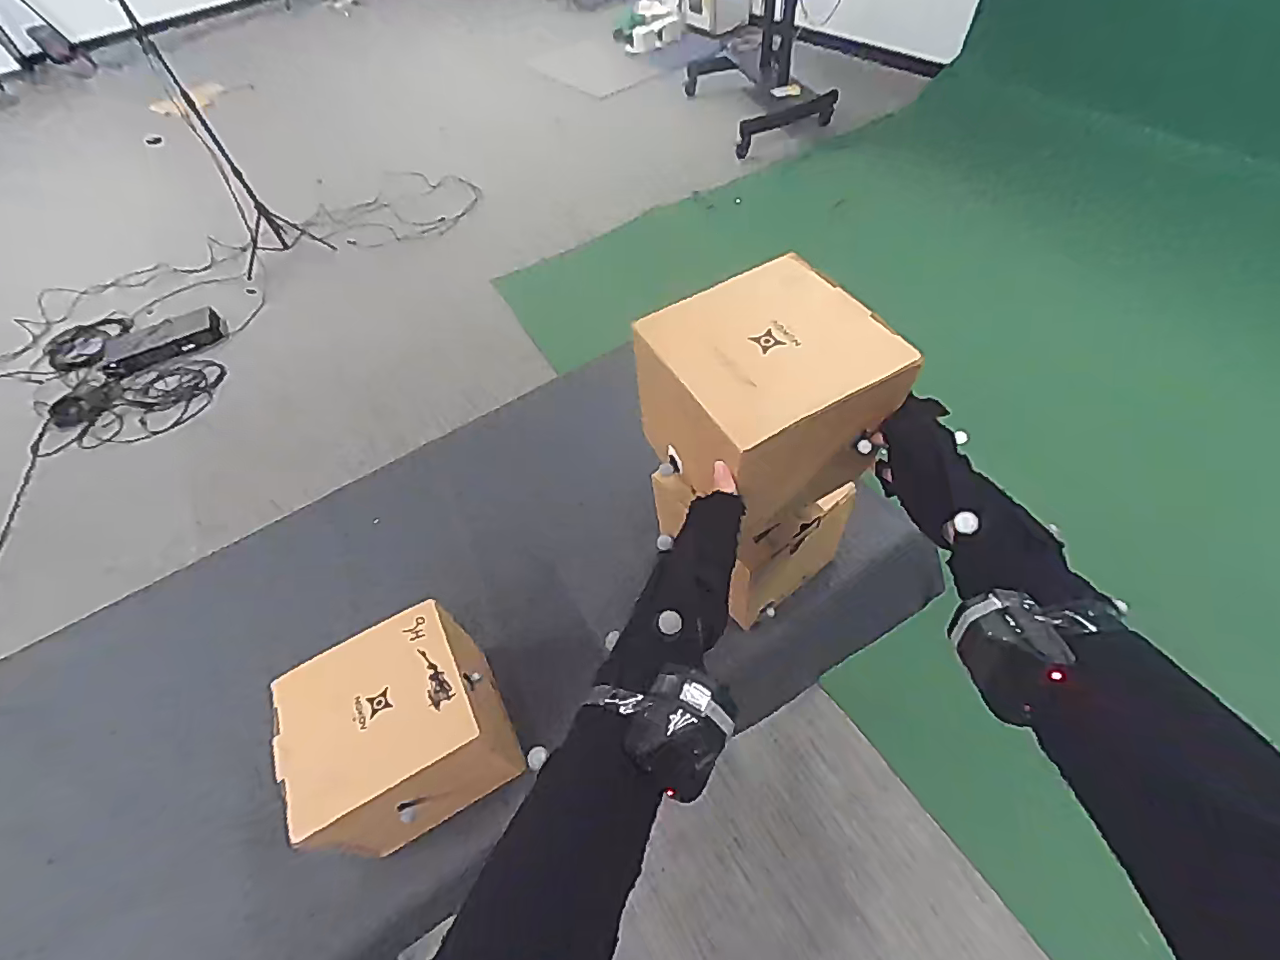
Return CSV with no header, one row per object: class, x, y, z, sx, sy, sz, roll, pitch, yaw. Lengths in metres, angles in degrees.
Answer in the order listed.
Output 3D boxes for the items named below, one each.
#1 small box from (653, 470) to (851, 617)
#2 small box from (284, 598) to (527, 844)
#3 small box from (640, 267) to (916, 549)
small box,0.140,0.055,0.708,0.168,0.176,0.179,-34,55,-17
small box,-0.250,0.270,0.599,0.179,0.176,0.168,-27,54,-13
small box,0.118,-0.065,0.525,0.179,0.176,0.168,-28,58,-12
